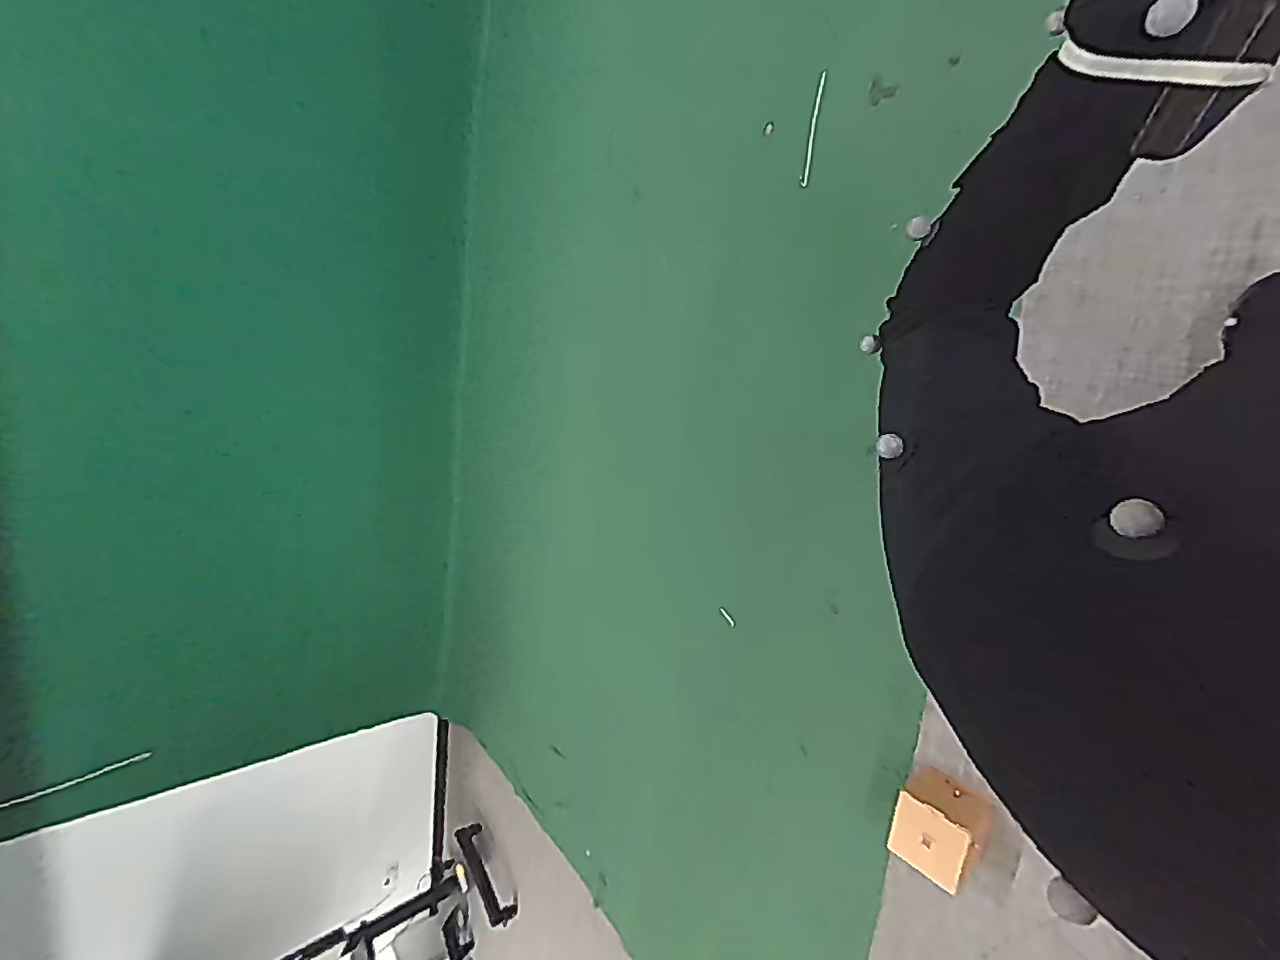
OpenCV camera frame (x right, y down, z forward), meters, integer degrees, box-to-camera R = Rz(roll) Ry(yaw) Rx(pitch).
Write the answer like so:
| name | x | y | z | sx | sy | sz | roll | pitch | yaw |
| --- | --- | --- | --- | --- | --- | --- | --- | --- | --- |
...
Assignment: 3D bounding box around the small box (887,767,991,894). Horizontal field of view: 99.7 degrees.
| name | x | y | z | sx | sy | sz | roll | pitch | yaw |
| --- | --- | --- | --- | --- | --- | --- | --- | --- | --- |
| small box | 0.754 | 0.870 | 1.360 | 0.168 | 0.176 | 0.179 | 18 | 104 | 46 |
